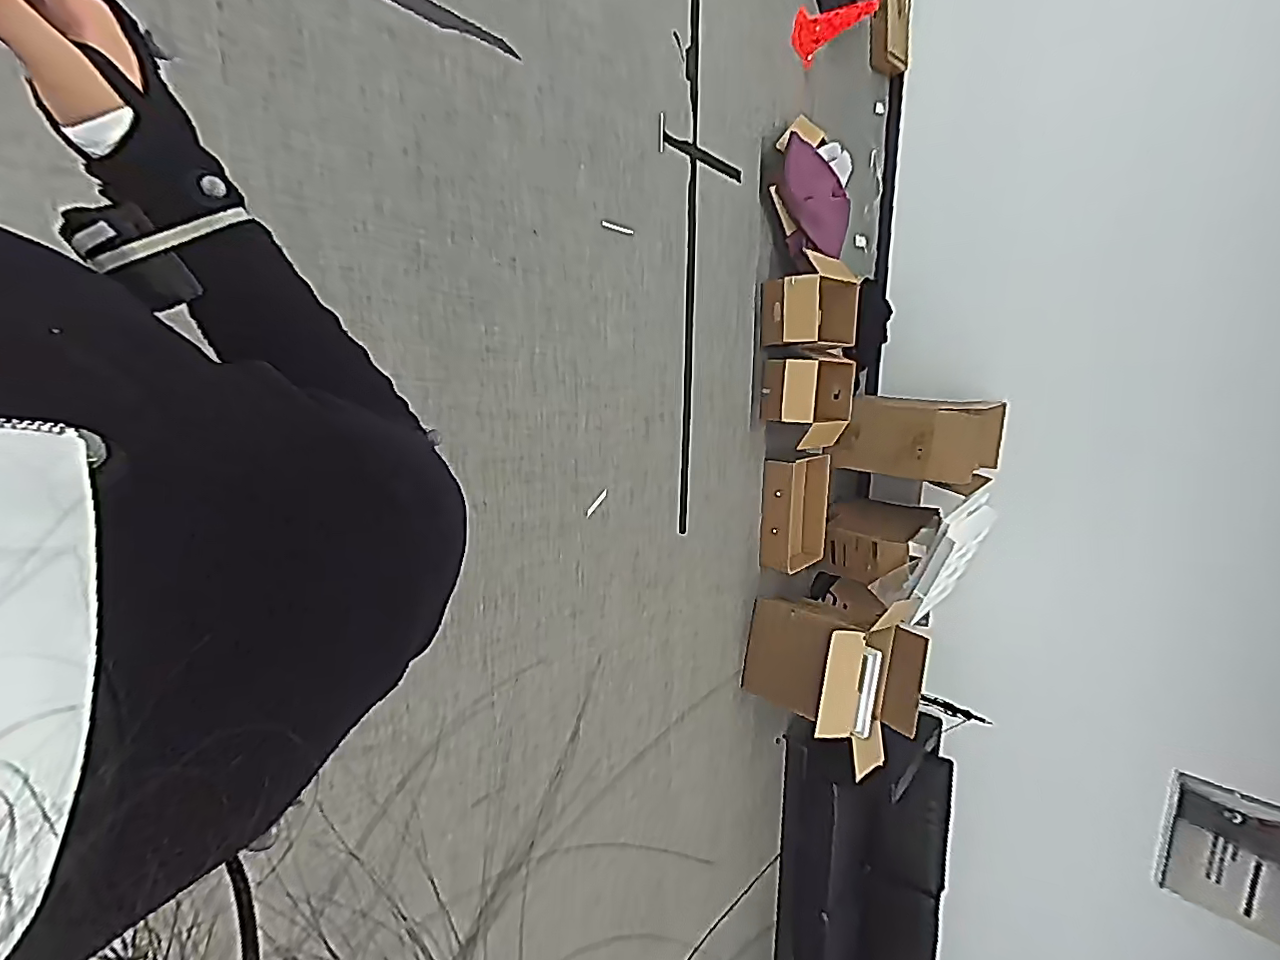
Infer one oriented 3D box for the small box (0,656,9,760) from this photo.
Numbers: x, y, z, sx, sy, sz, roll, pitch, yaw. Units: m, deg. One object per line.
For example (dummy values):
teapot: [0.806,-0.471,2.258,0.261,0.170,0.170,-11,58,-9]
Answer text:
small box: [-1.135,0.392,0.853,0.168,0.176,0.179,-4,100,-46]
